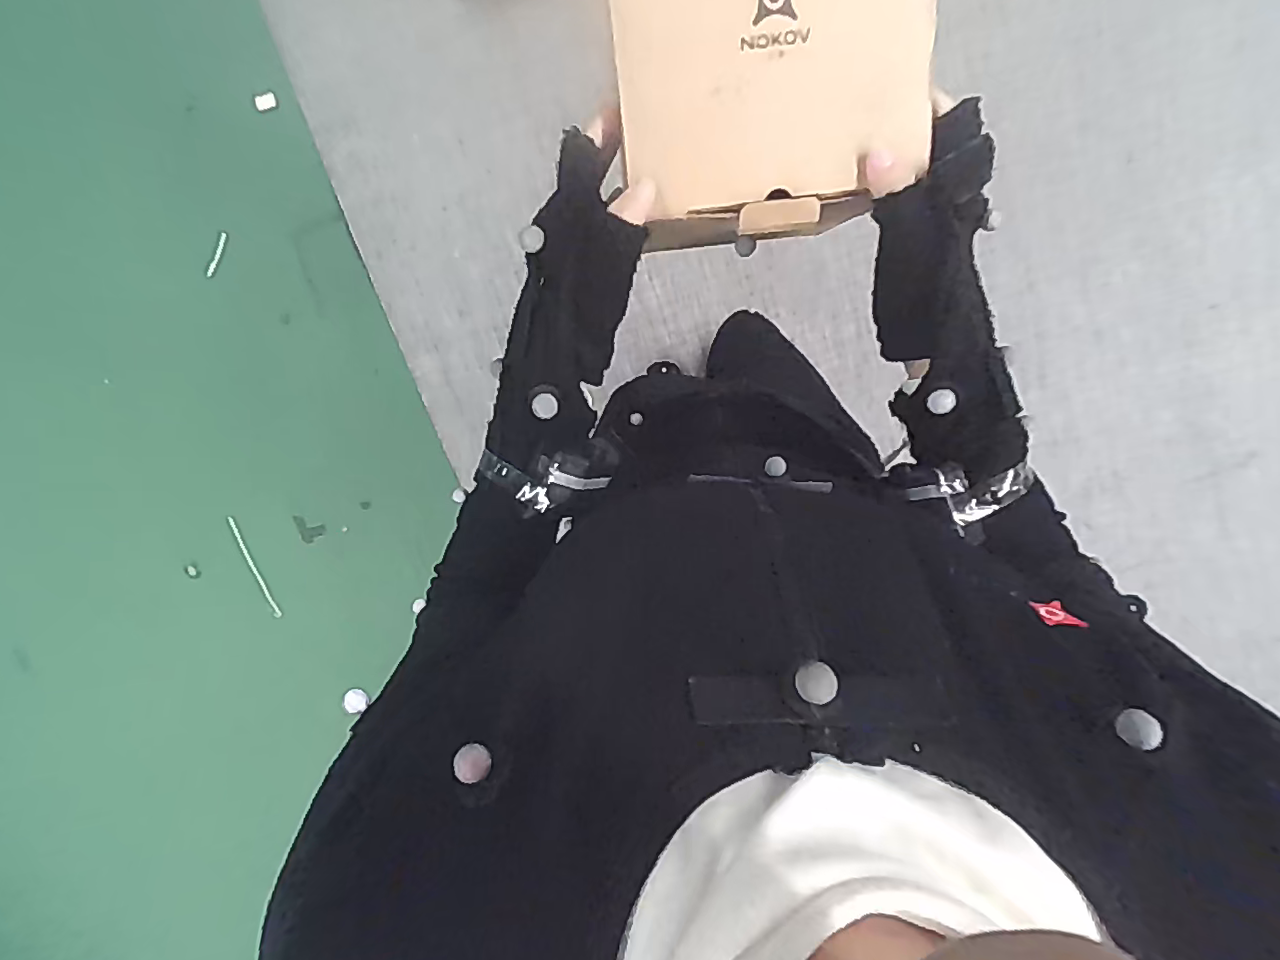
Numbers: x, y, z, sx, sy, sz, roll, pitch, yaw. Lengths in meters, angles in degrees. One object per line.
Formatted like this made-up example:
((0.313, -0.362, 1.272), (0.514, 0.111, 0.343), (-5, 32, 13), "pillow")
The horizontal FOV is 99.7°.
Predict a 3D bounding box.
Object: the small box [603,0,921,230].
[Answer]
((0.064, -0.271, 0.358), (0.168, 0.176, 0.179), (-6, 108, 2), "small box")
